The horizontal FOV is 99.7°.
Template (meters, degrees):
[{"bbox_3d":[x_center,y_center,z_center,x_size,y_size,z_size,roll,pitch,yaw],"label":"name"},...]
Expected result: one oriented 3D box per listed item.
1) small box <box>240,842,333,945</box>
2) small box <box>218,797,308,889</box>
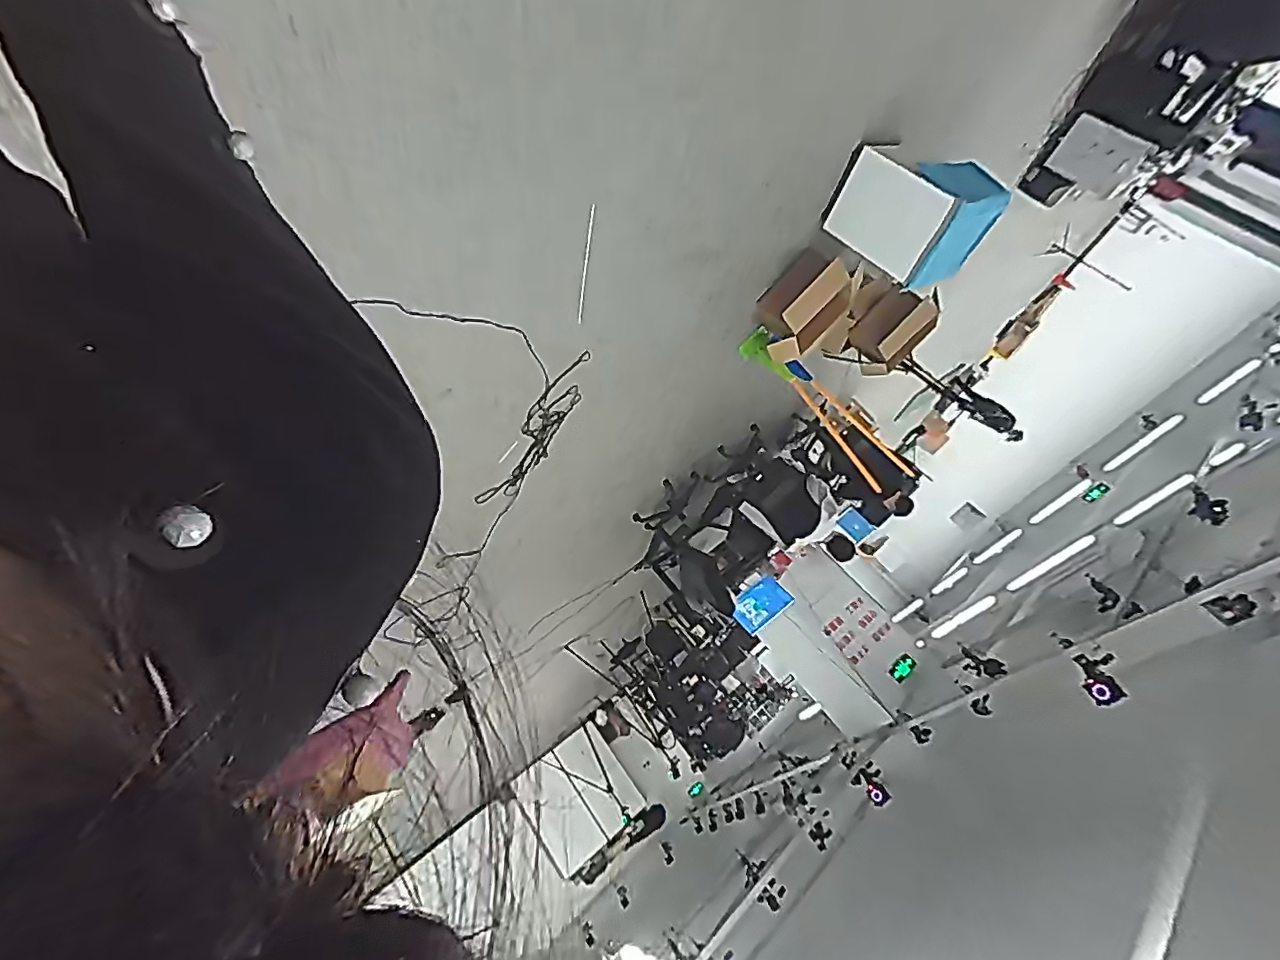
[{"bbox_3d":[-1.039,1.211,1.587,0.179,0.176,0.168,-27,154,-33],"label":"small box"},{"bbox_3d":[-1.148,1.108,1.653,0.168,0.176,0.179,-27,154,-33],"label":"small box"}]
